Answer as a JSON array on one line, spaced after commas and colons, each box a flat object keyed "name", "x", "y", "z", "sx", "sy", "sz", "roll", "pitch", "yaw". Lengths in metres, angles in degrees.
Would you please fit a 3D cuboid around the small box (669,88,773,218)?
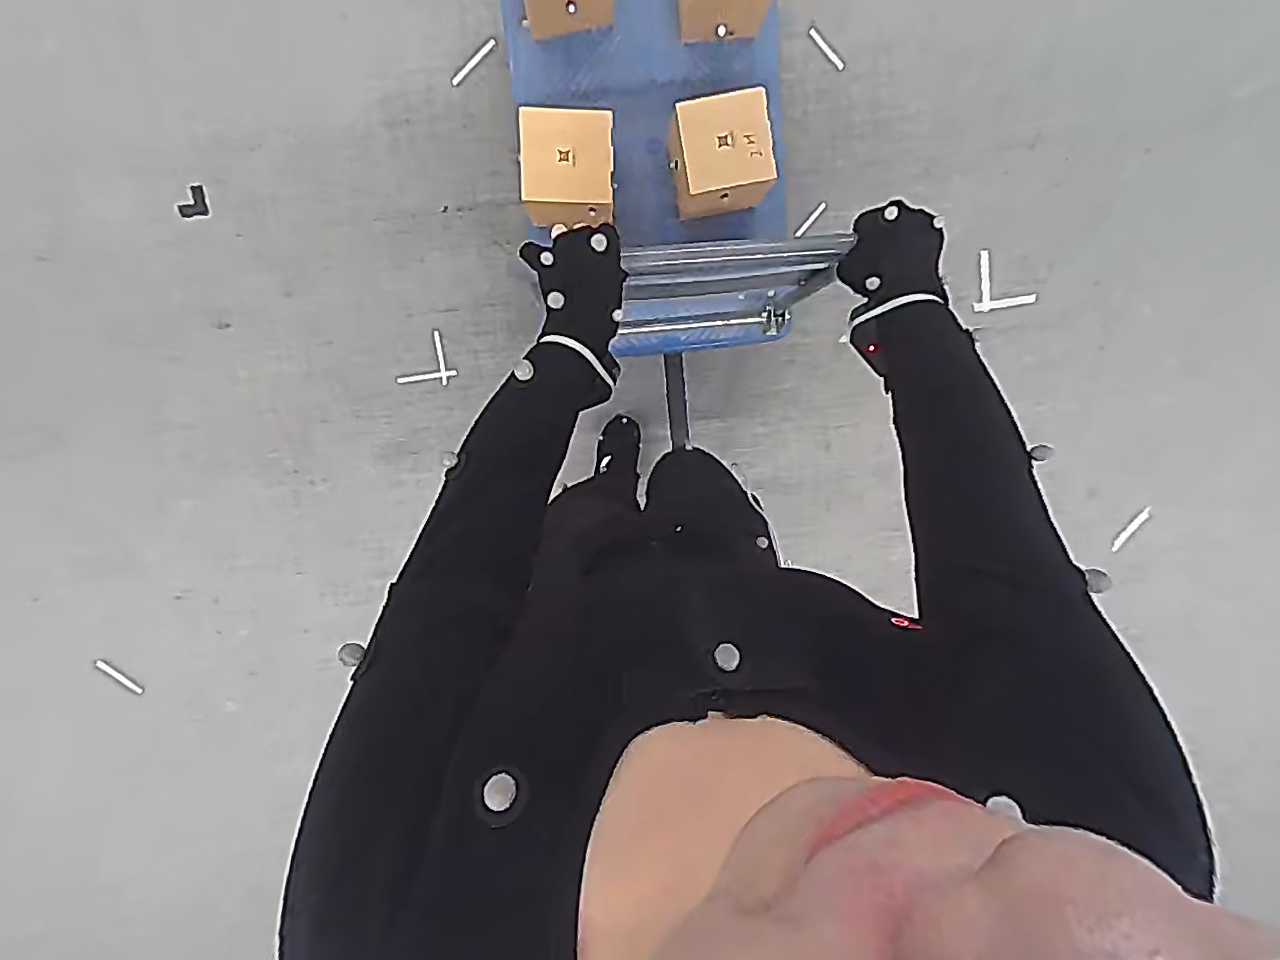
[{"name": "small box", "x": 0.158, "y": -0.663, "z": 1.118, "sx": 0.179, "sy": 0.176, "sz": 0.168, "roll": -11, "pitch": 100, "yaw": -1}]

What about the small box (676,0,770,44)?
[{"name": "small box", "x": 0.159, "y": -1.007, "z": 1.060, "sx": 0.168, "sy": 0.176, "sz": 0.179, "roll": -7, "pitch": 101, "yaw": -2}]

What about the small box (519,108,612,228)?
[{"name": "small box", "x": -0.147, "y": -0.628, "z": 1.107, "sx": 0.179, "sy": 0.176, "sz": 0.168, "roll": -1, "pitch": 99, "yaw": -5}]
